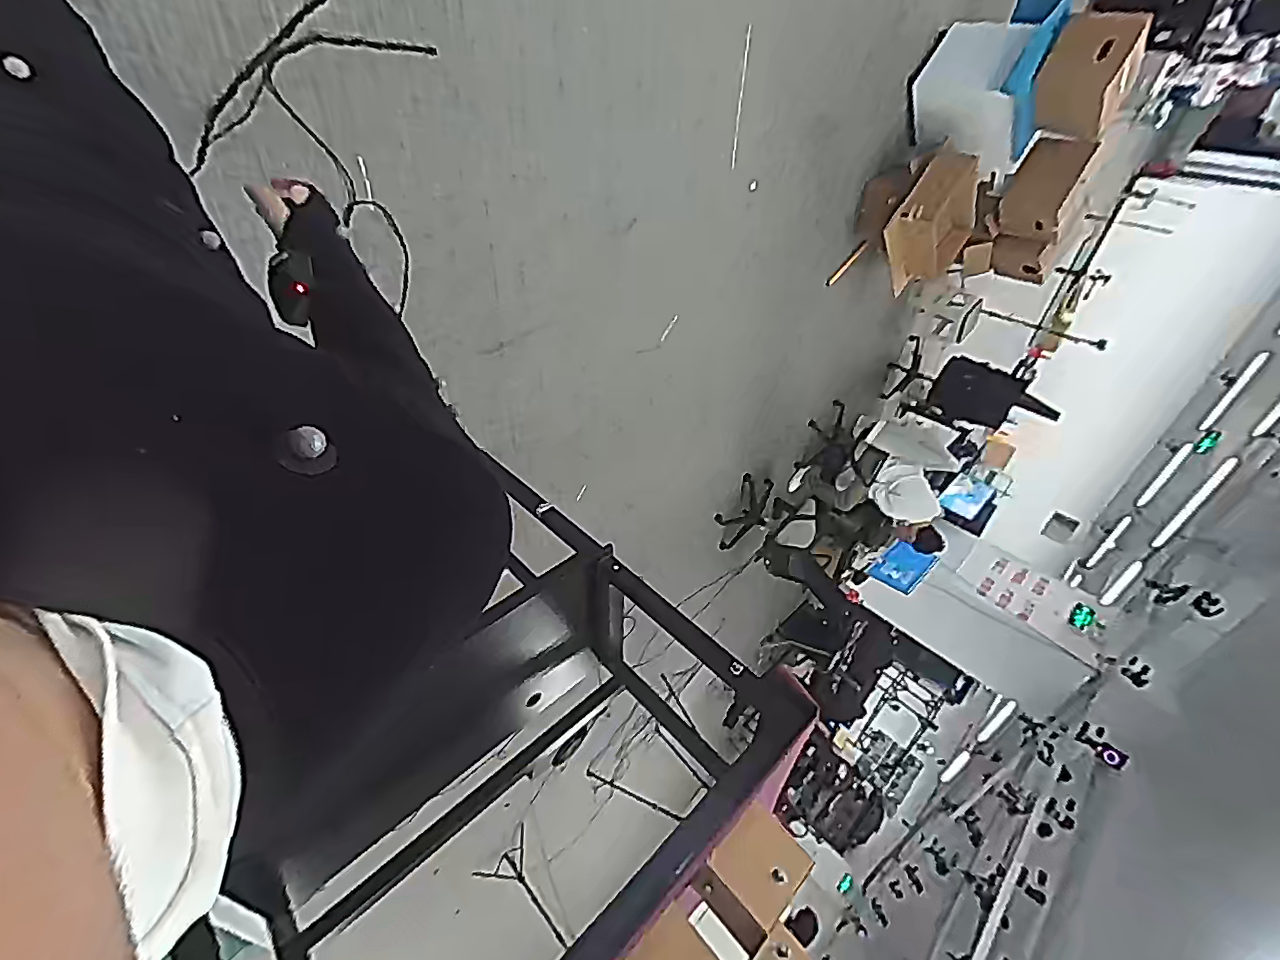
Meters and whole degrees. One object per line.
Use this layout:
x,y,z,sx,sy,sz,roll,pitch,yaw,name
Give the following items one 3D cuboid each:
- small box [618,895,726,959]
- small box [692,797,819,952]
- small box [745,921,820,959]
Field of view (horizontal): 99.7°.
0.051,0.920,0.985,0.179,0.176,0.168,-32,141,-34,small box
0.236,0.811,1.127,0.179,0.176,0.168,-26,138,-36,small box
0.259,0.954,0.978,0.168,0.176,0.179,-30,141,-33,small box
